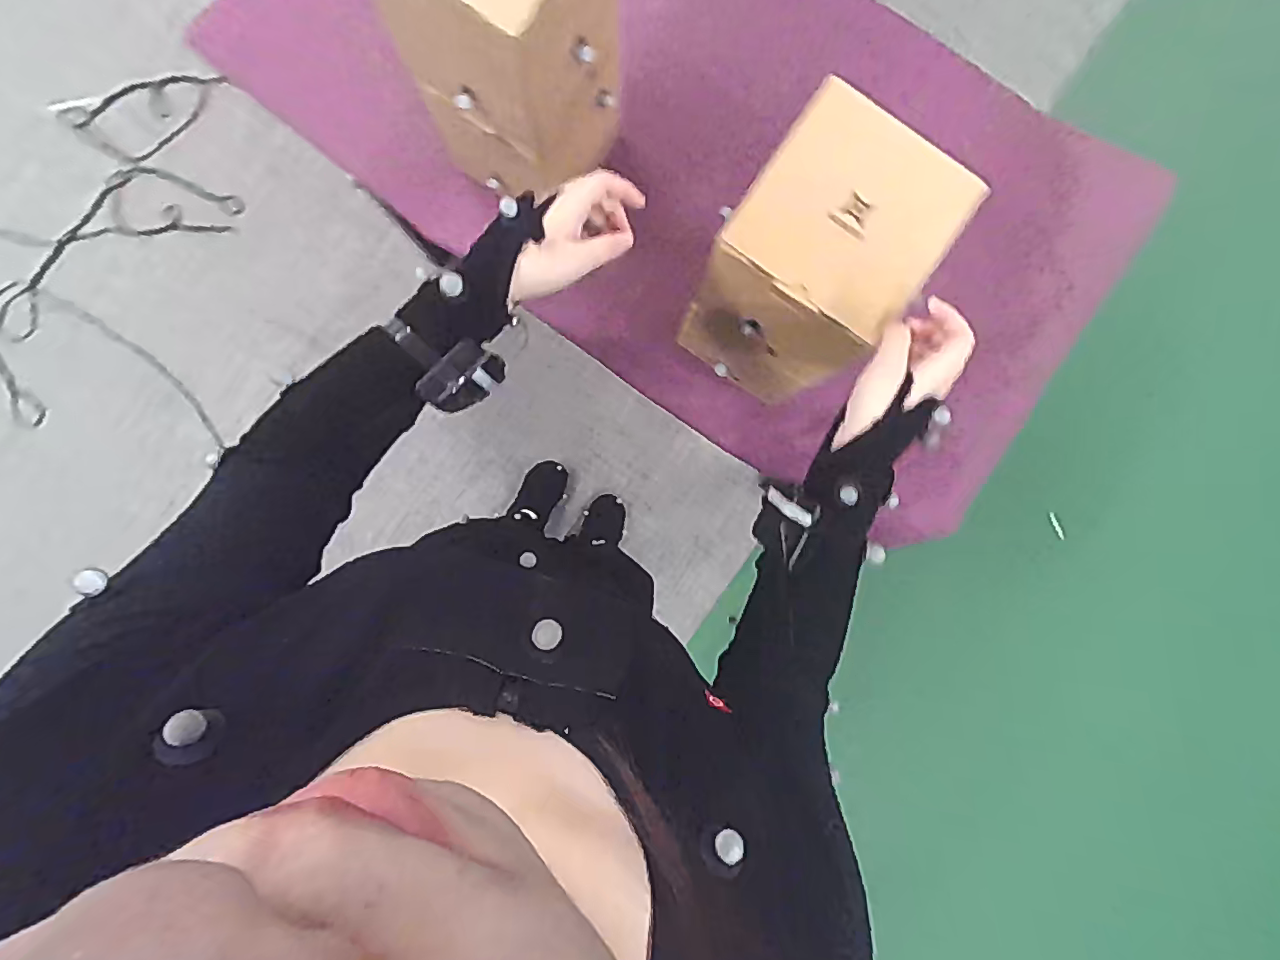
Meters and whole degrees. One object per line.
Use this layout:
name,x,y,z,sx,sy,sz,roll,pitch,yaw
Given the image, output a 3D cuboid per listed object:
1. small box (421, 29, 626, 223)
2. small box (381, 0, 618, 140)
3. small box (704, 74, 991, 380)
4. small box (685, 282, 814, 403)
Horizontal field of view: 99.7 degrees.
small box,-0.134,-0.472,0.679,0.168,0.176,0.179,34,88,-1
small box,-0.130,-0.472,0.515,0.179,0.176,0.168,33,88,-2
small box,0.179,-0.223,0.529,0.168,0.176,0.179,35,90,-1
small box,0.171,-0.221,0.692,0.168,0.176,0.179,35,90,-1
